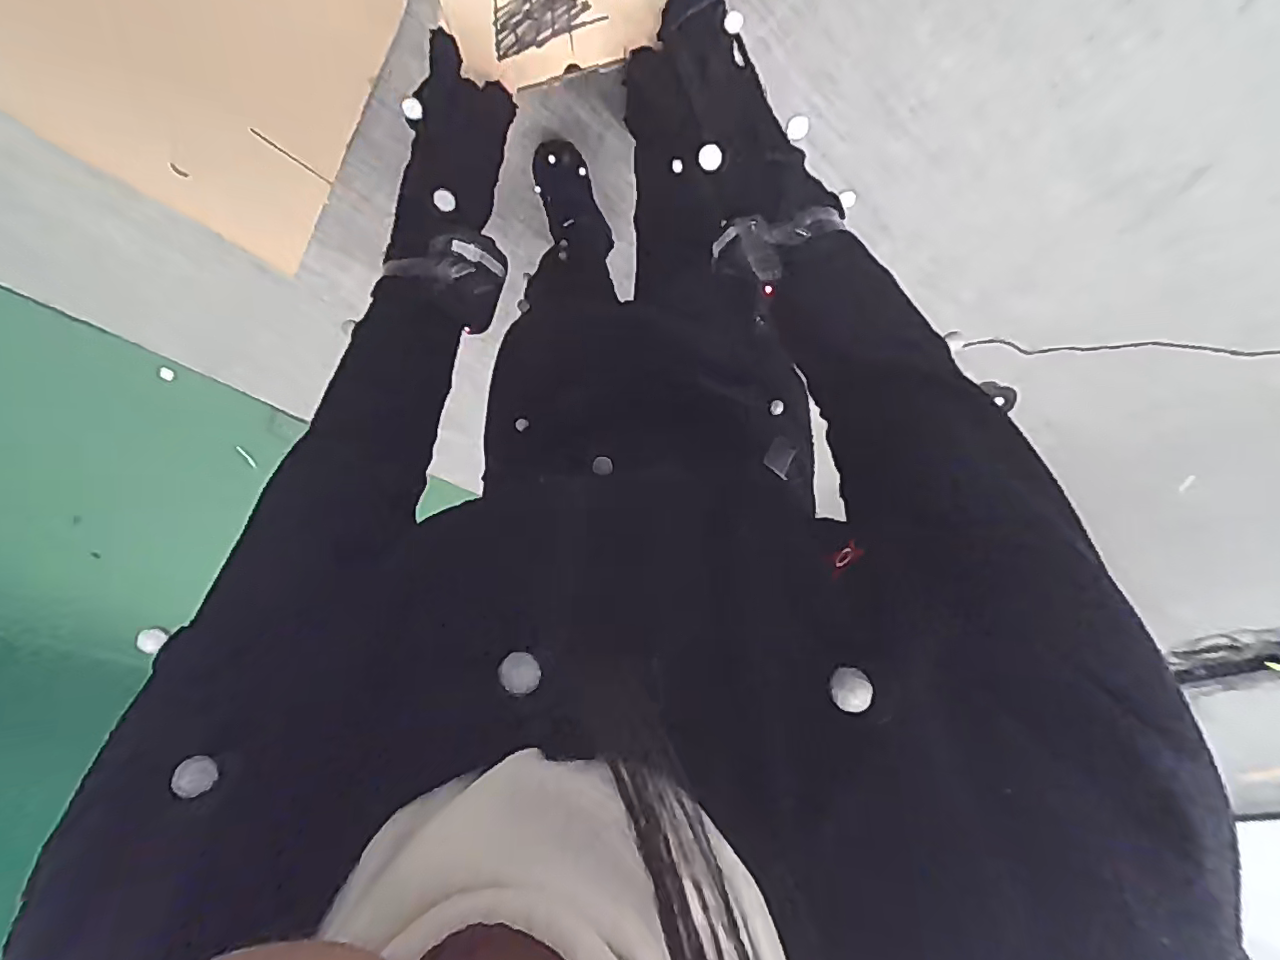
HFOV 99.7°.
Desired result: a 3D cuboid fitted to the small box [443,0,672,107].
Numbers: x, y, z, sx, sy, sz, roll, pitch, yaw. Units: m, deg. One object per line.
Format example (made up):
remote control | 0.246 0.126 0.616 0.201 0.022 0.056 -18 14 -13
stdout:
small box | -0.071 -0.443 0.429 0.168 0.176 0.179 -10 138 14
